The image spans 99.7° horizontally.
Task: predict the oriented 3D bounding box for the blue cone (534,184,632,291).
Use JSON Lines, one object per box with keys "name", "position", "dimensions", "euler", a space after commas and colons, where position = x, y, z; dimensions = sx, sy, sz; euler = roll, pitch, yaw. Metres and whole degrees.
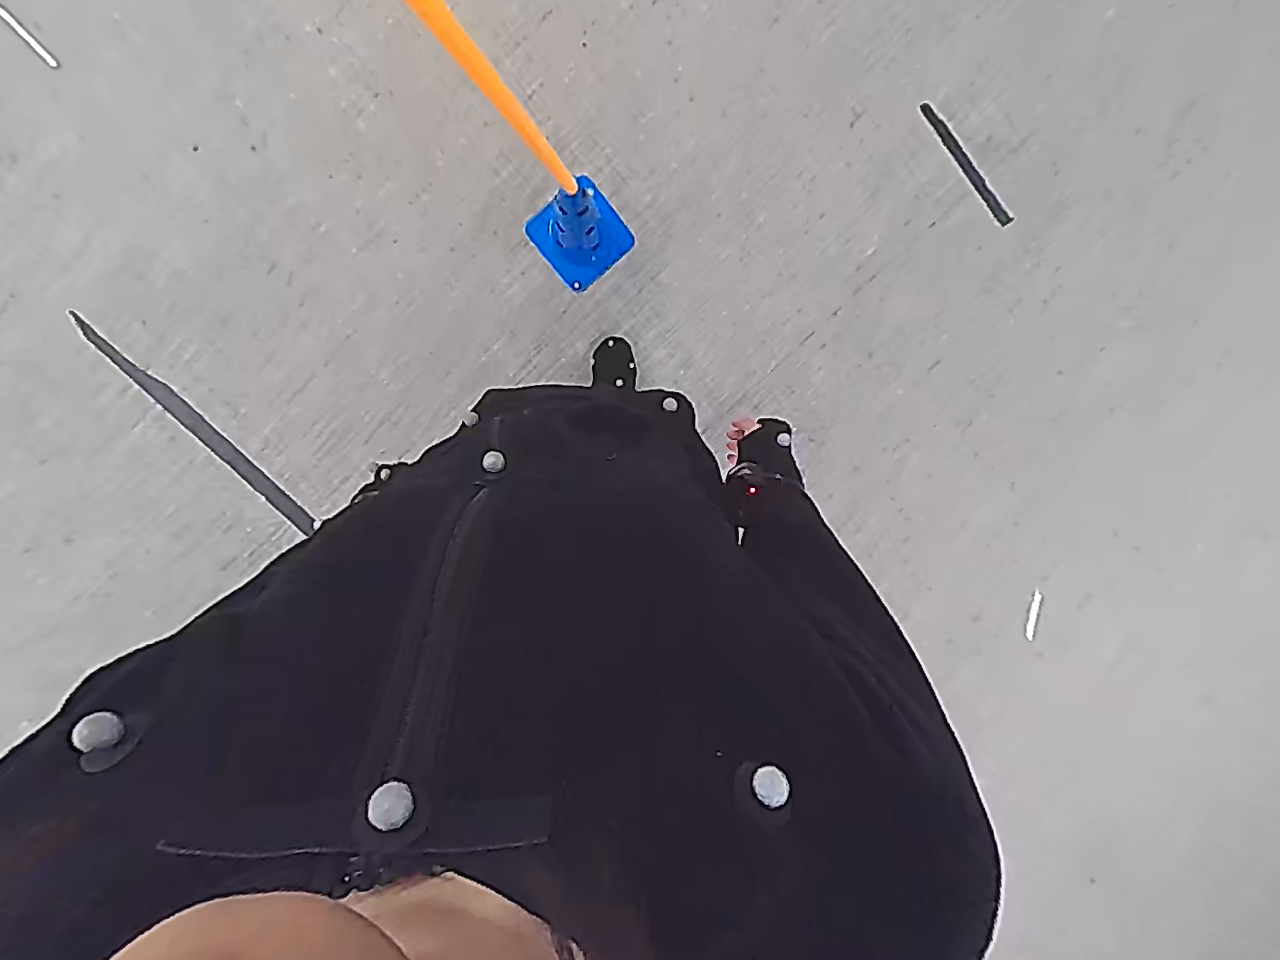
{"name": "blue cone", "position": [-0.125, -0.546, 1.133], "dimensions": [0.193, 0.380, 0.192], "euler": [-38, 102, 4]}
